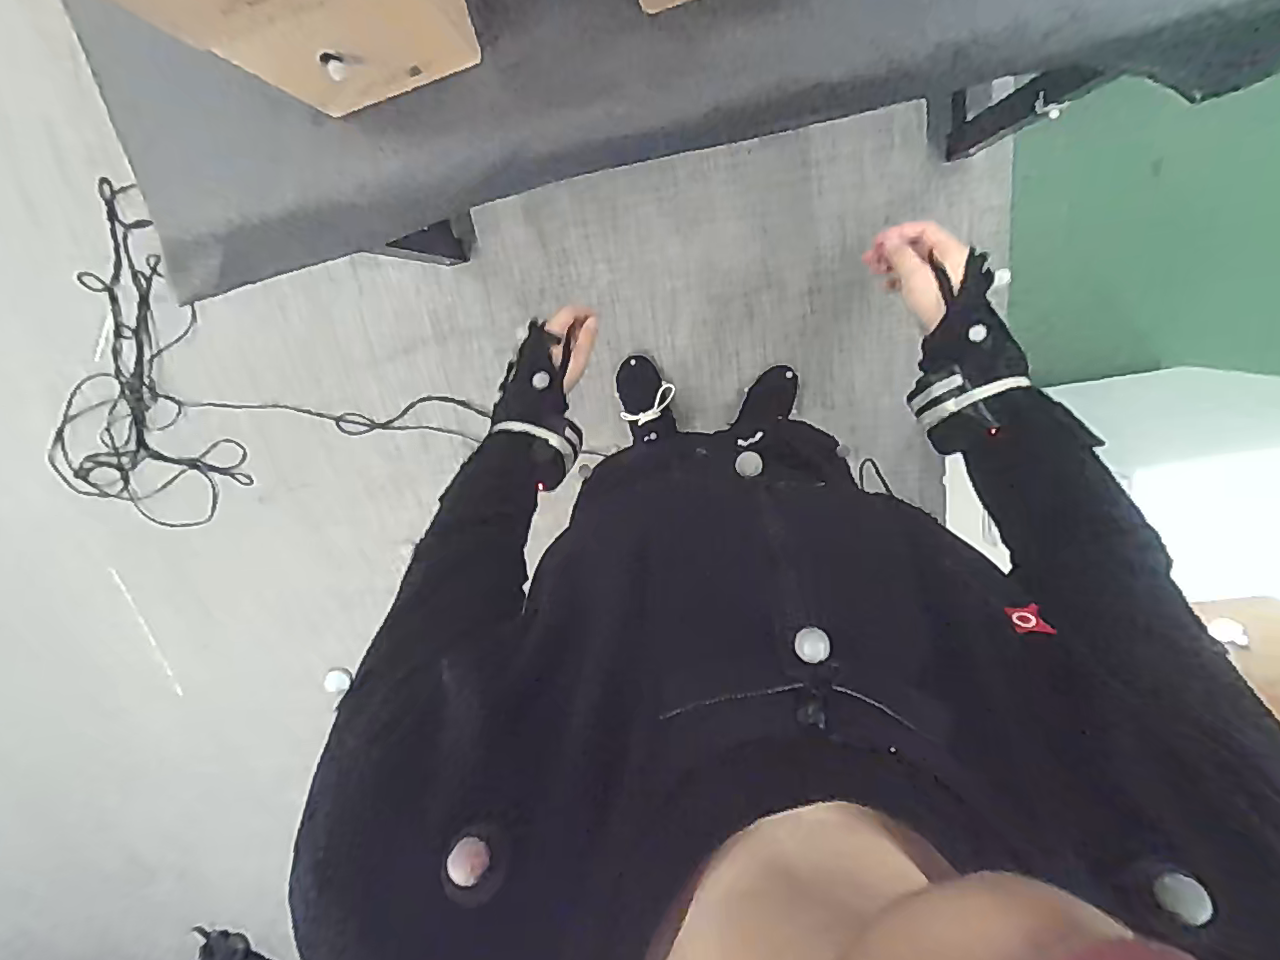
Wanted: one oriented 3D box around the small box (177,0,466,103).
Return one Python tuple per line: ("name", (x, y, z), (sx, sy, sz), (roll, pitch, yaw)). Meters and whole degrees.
("small box", (-0.264, -0.436, 0.432), (0.168, 0.176, 0.179), (-14, 105, 8))
